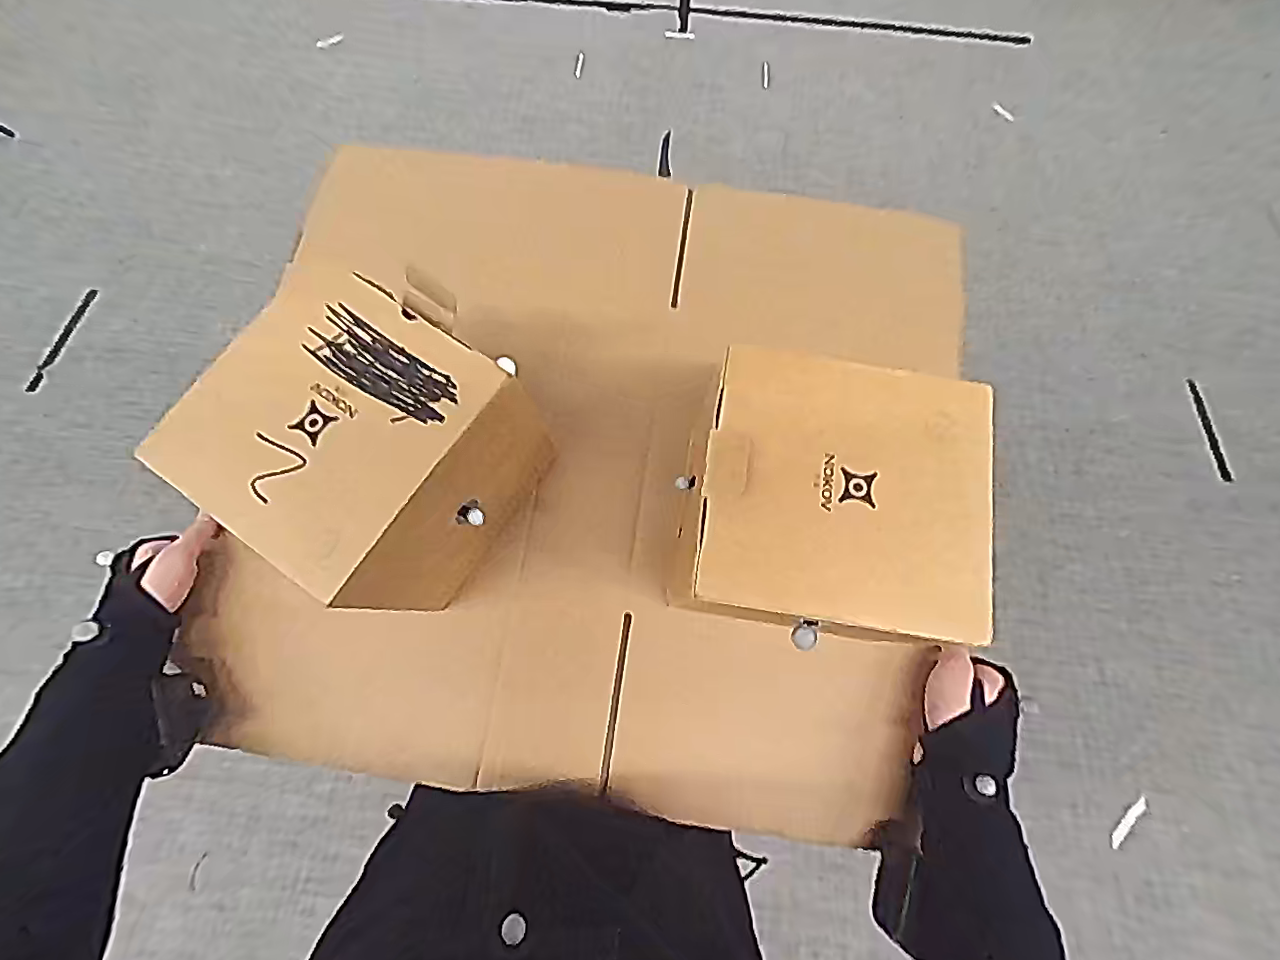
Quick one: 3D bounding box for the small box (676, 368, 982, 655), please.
[{"bbox_3d":[0.131,0.034,0.425,0.179,0.176,0.168,9,75,1],"label":"small box"}]
